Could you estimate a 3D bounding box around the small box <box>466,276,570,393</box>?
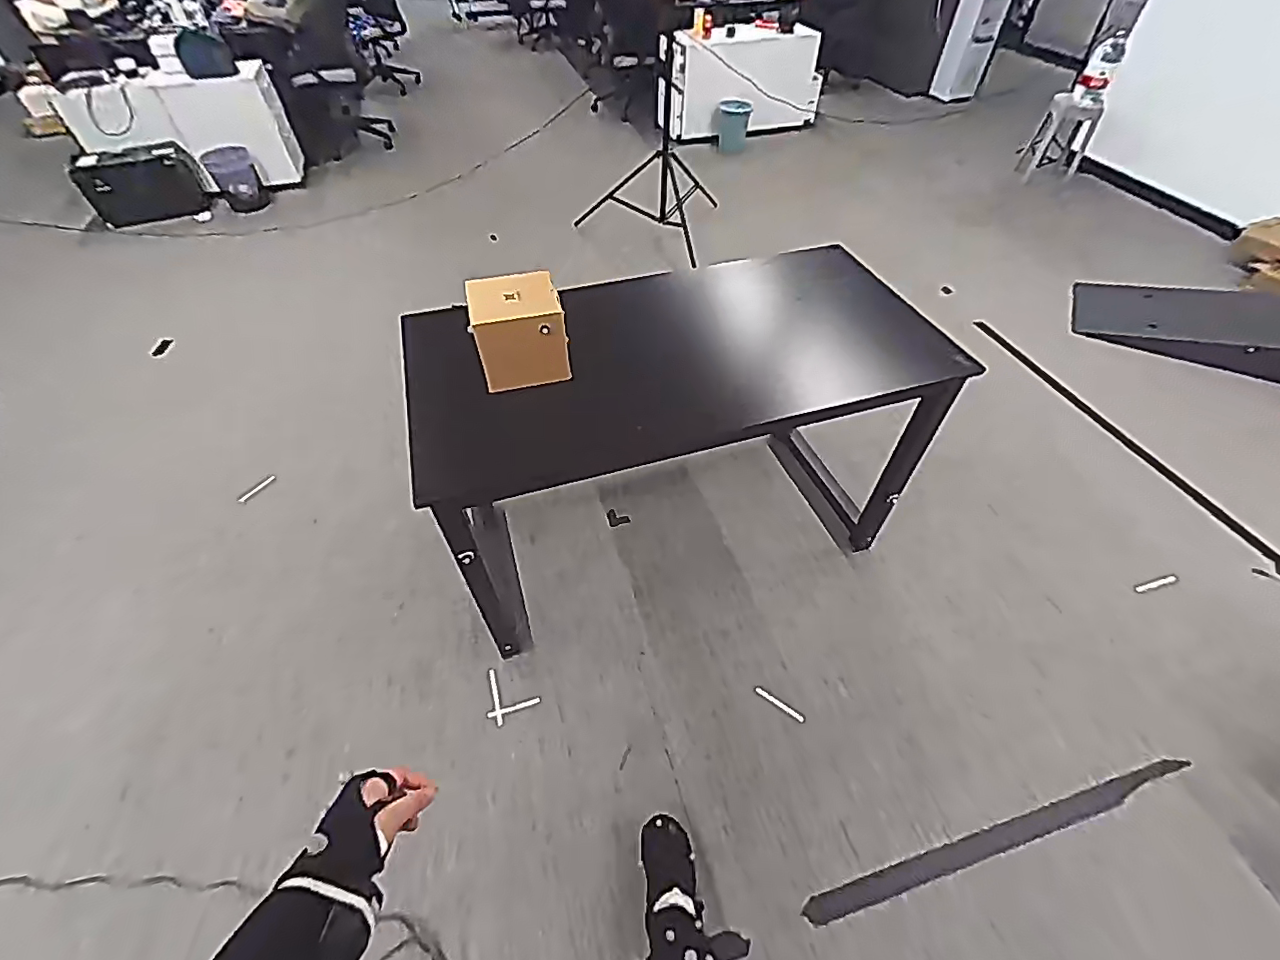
[{"bbox_3d":[-0.254,-0.302,1.140,0.179,0.176,0.168,-12,51,-11],"label":"small box"}]
